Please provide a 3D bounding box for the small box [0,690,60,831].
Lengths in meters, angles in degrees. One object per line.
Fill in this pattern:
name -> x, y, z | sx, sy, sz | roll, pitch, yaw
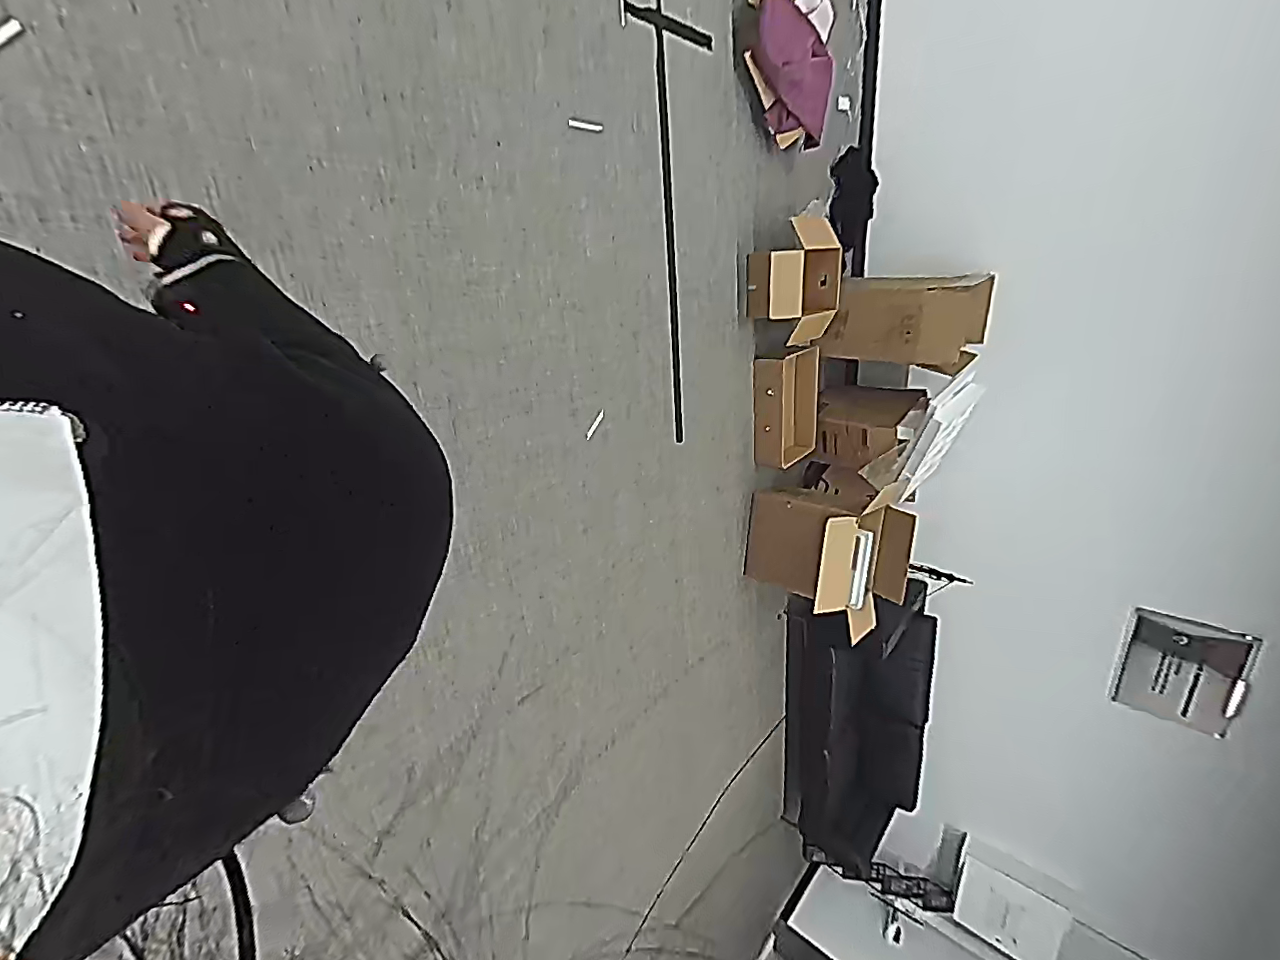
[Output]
small box -> -1.064, 0.453, 0.845 | 0.168, 0.176, 0.179 | -29, 122, -42

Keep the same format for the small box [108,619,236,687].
small box -> -0.874, 0.353, 1.039 | 0.179, 0.176, 0.168 | -30, 122, -41
